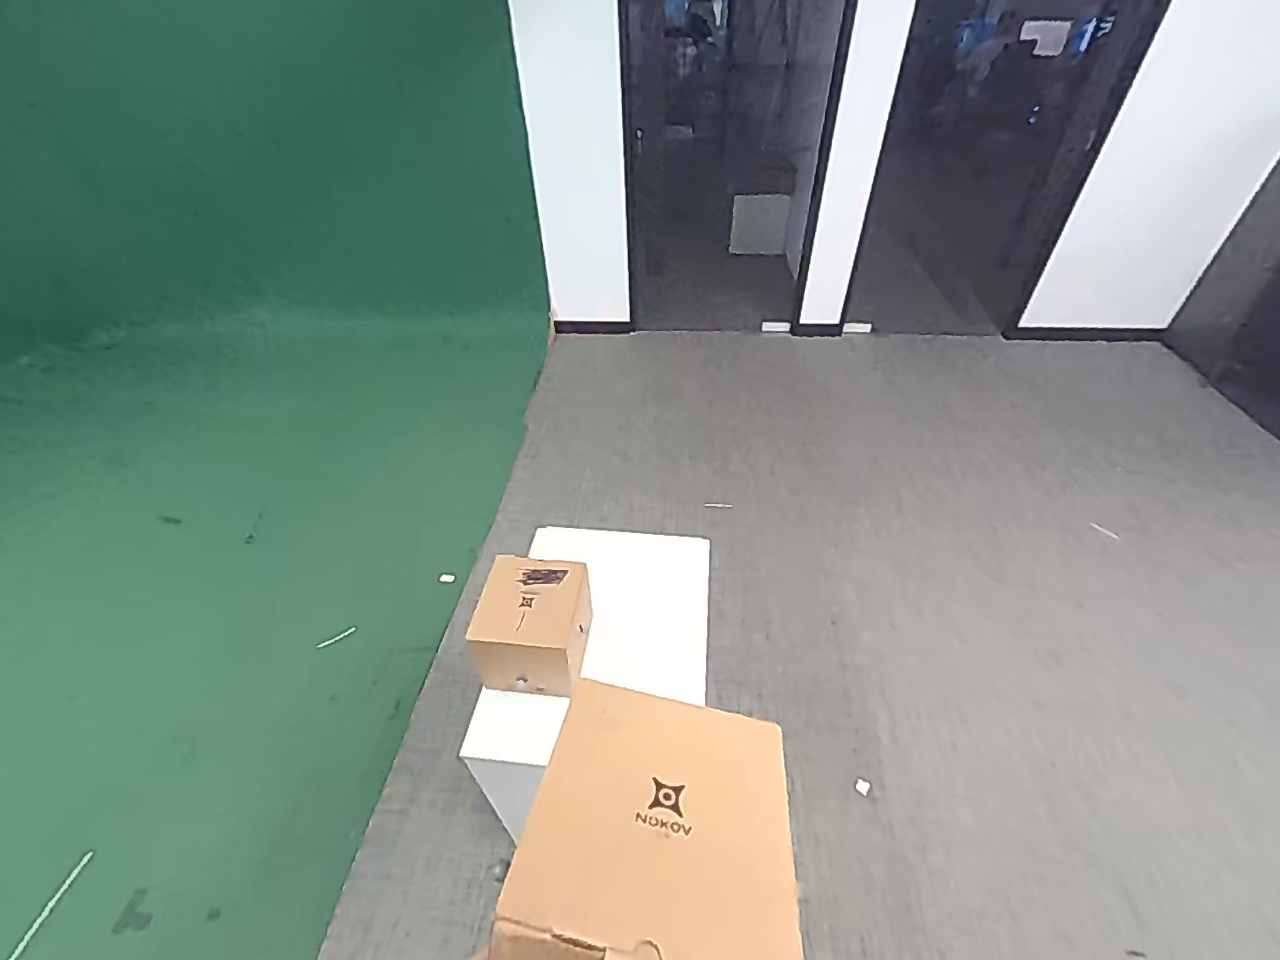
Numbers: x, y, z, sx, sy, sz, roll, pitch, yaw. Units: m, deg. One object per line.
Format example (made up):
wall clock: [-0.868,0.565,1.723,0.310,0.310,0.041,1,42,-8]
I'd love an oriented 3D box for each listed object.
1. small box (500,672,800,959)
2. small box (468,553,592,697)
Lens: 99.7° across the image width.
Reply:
small box: [0.004,0.280,0.390,0.168,0.176,0.179,13,26,5]
small box: [-0.182,0.256,0.959,0.168,0.176,0.179,4,43,6]
